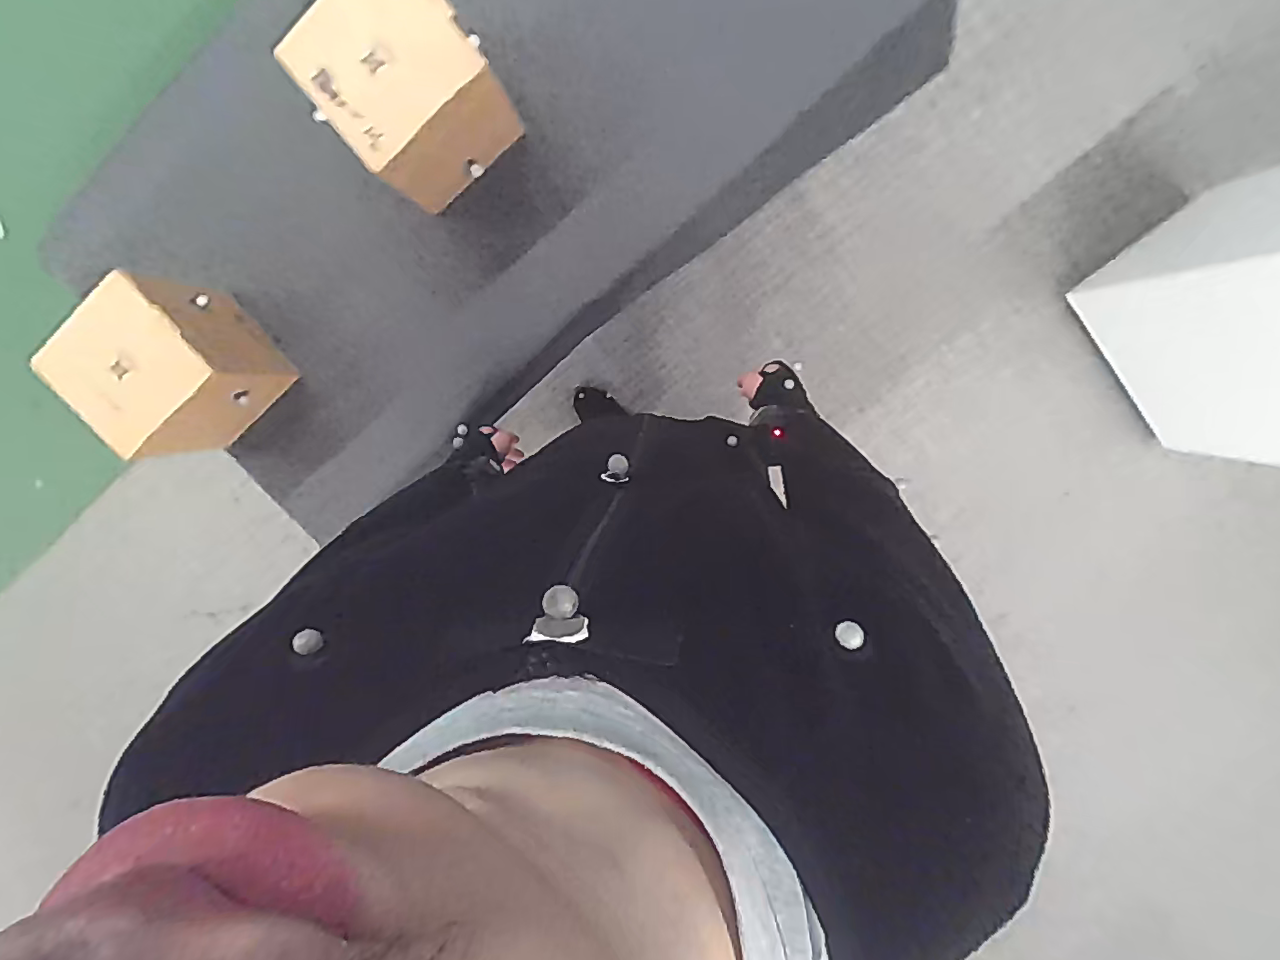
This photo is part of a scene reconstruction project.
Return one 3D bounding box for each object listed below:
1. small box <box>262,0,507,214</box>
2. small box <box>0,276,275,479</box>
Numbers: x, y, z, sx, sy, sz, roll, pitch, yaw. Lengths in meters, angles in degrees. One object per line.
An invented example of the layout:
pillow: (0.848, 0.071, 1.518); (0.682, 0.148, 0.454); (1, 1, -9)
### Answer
small box: (-0.279, -0.459, 0.641); (0.179, 0.176, 0.168); (-40, 98, 6)
small box: (-0.623, -0.128, 0.700); (0.179, 0.176, 0.168); (-42, 96, 8)
